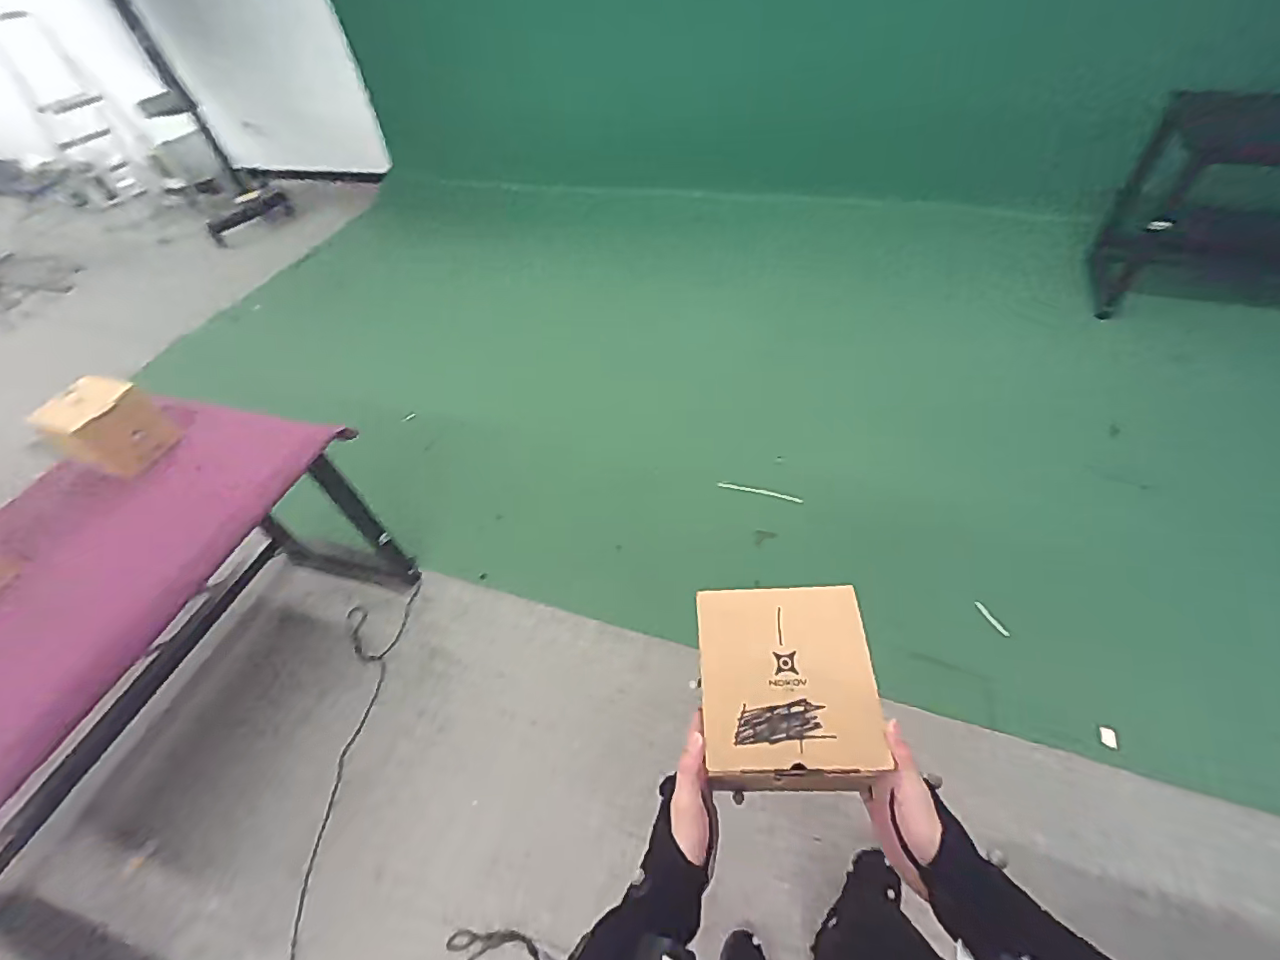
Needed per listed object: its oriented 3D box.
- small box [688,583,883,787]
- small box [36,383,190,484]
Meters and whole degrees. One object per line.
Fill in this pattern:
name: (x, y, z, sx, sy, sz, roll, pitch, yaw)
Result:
small box: (0.143, 0.230, 0.588, 0.168, 0.176, 0.179, -5, 55, 5)
small box: (-1.284, -0.111, 1.333, 0.179, 0.176, 0.168, 12, 53, 16)
